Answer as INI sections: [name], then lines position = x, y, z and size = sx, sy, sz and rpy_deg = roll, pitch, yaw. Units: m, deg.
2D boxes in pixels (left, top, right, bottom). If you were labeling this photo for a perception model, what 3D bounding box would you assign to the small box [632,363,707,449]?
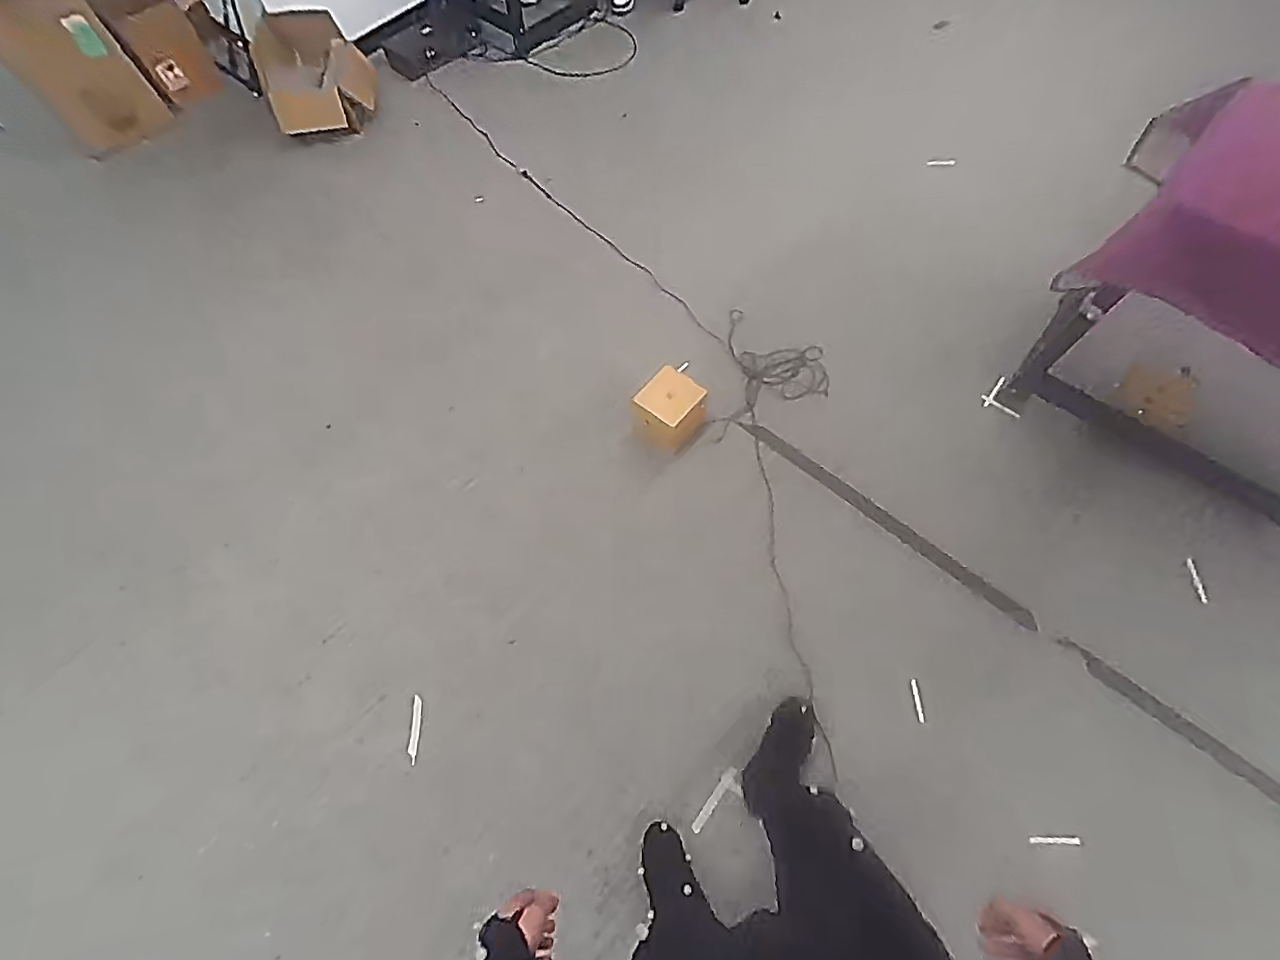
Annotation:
[small box]
position = 0.095, -0.228, 1.711
size = 0.168, 0.176, 0.179
rpy_deg = 36, 71, 18
